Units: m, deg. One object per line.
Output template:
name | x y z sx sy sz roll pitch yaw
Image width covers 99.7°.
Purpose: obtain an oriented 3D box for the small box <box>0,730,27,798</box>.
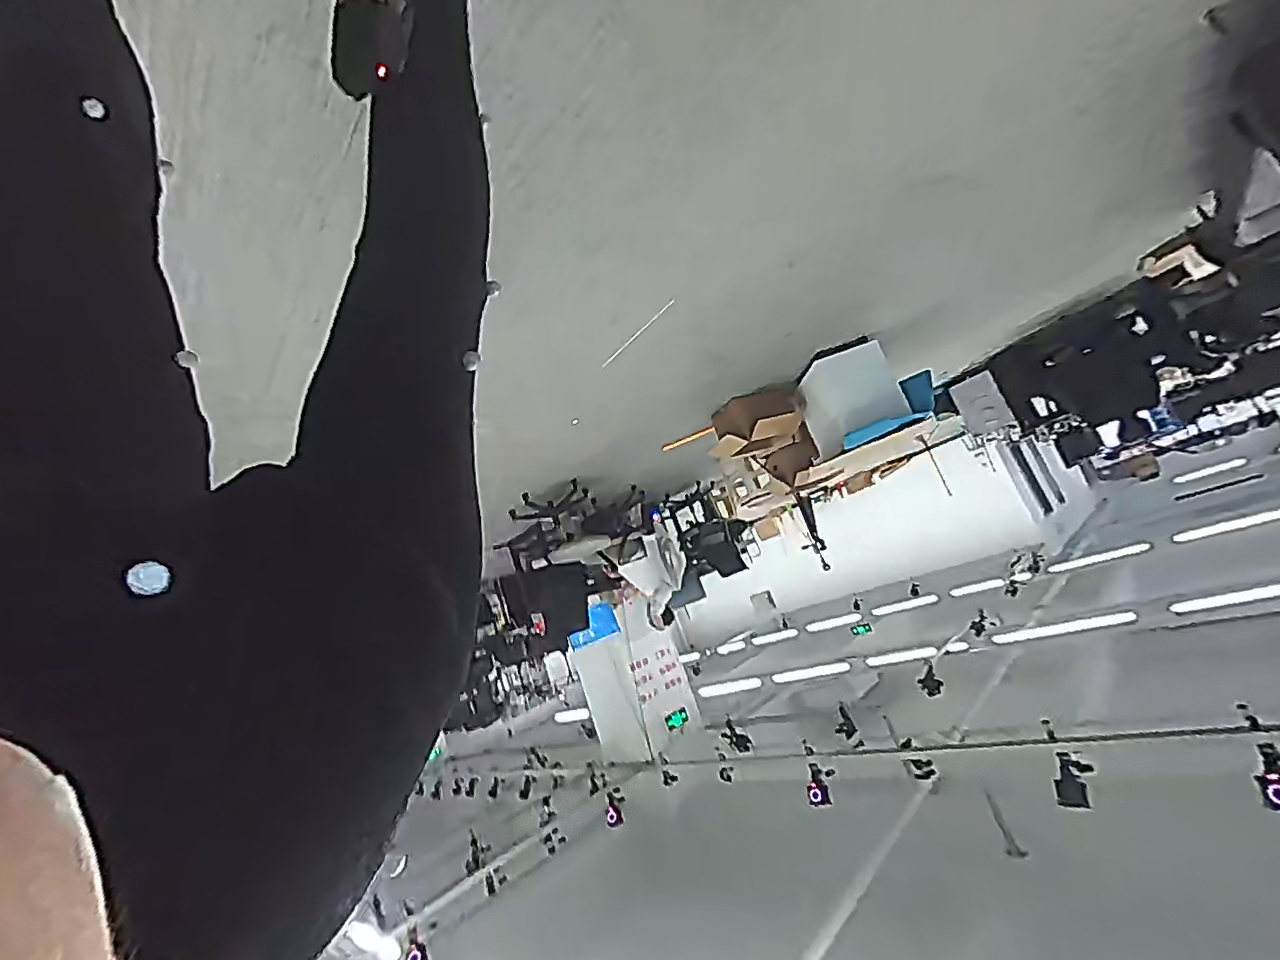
small box | -1.885 0.833 1.545 0.168 0.176 0.179 -6 161 -46
